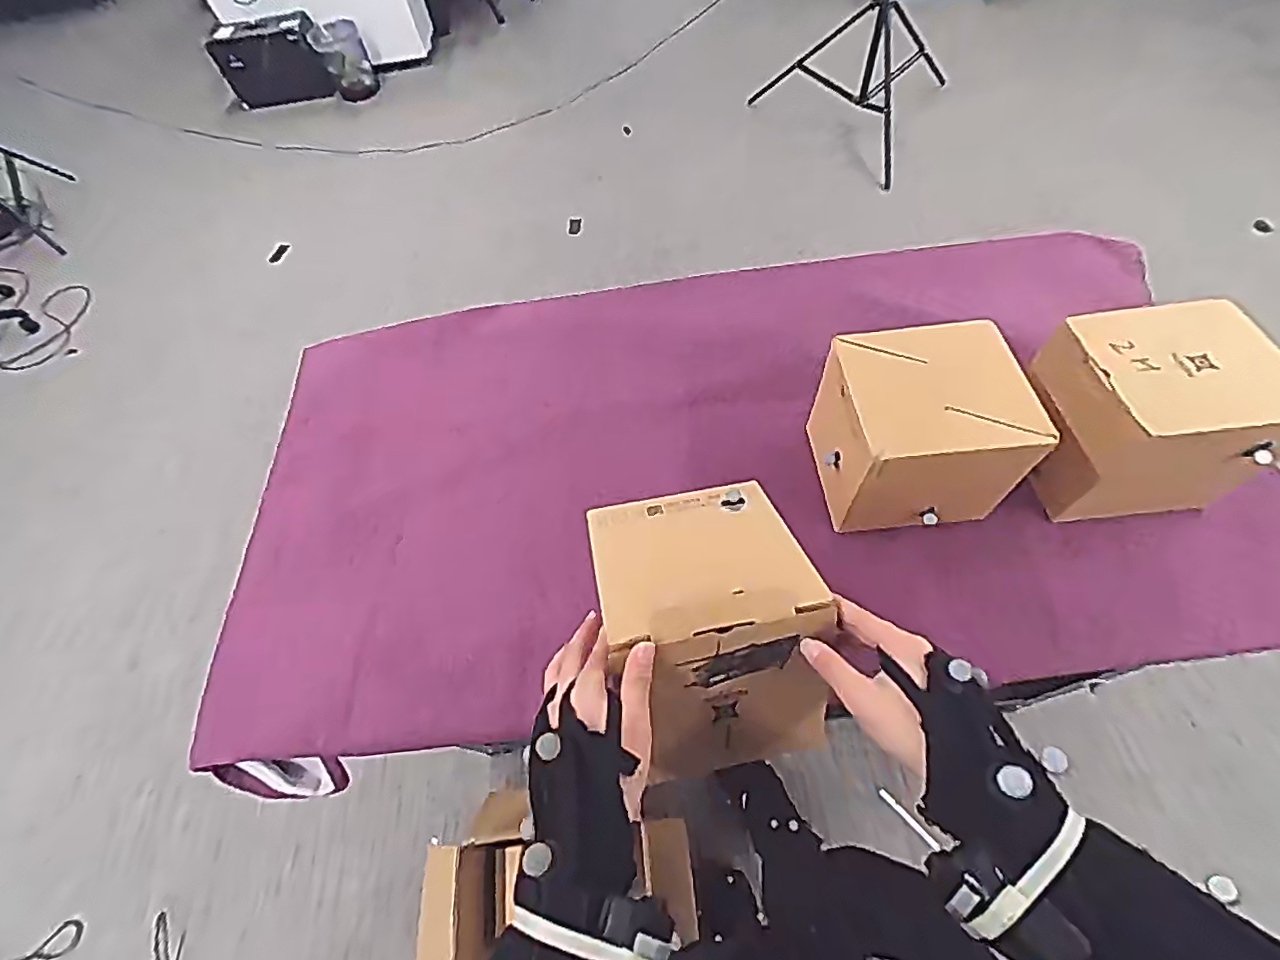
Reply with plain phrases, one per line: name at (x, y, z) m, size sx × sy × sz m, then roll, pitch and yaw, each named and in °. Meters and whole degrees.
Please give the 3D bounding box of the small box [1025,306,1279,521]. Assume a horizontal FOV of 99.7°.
small box at (0.558, -0.068, 0.607) m, size 0.179 × 0.176 × 0.168 m, roll -5°, pitch 56°, yaw 3°

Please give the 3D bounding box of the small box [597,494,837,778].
small box at (0.057, 0.126, 0.490) m, size 0.168 × 0.179 × 0.176 m, roll -9°, pitch 32°, yaw -4°

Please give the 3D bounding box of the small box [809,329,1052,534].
small box at (0.313, -0.053, 0.624) m, size 0.179 × 0.176 × 0.168 m, roll -6°, pitch 57°, yaw 4°
